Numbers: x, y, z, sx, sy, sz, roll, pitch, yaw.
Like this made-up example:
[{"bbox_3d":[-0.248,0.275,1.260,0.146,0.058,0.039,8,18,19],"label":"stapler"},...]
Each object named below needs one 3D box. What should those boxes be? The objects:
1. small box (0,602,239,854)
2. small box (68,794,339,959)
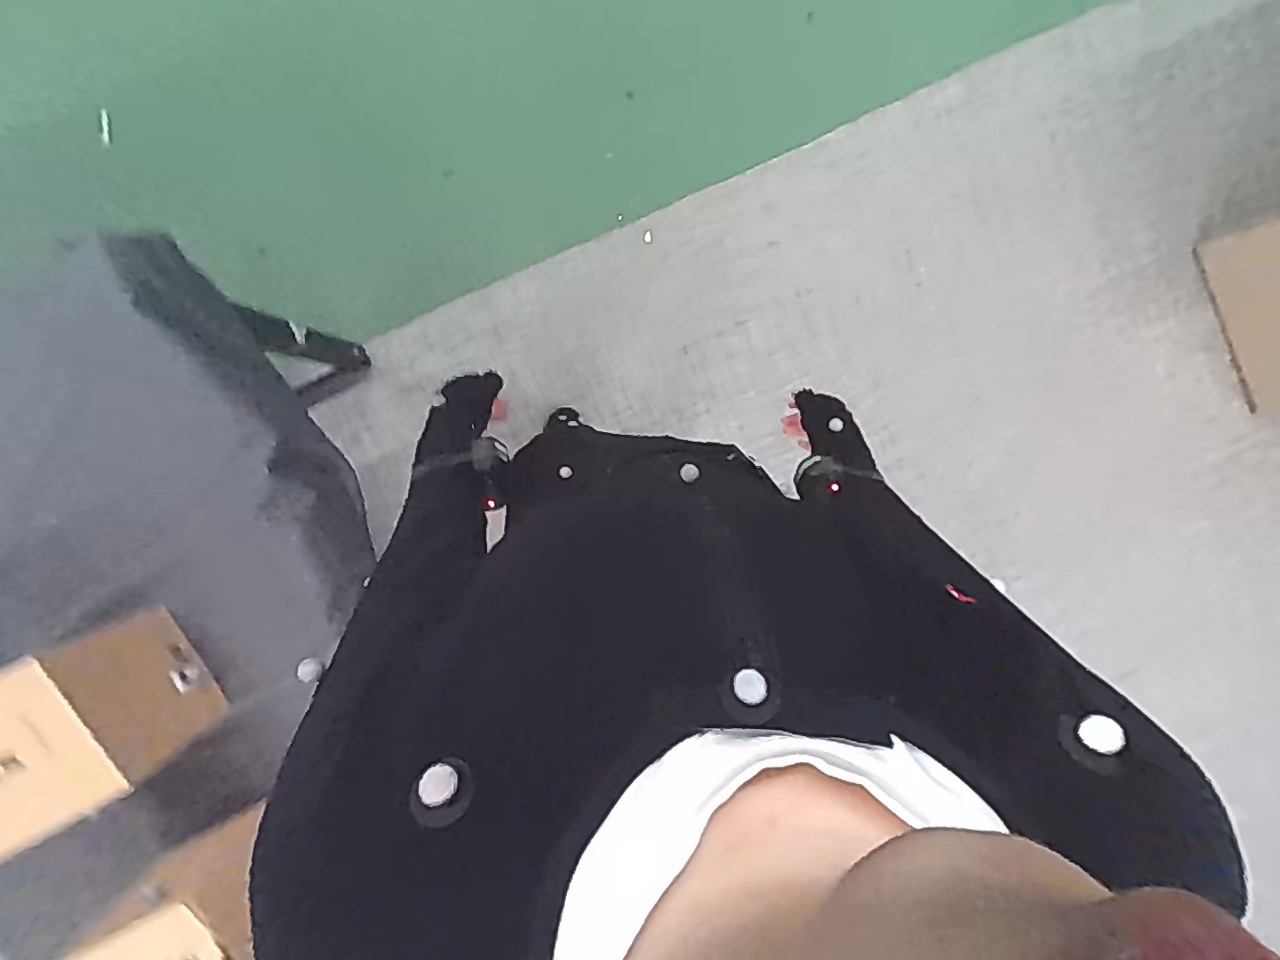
[{"bbox_3d":[-0.639,0.274,0.637,0.179,0.176,0.168,-30,98,-1],"label":"small box"},{"bbox_3d":[-0.511,0.538,0.670,0.179,0.176,0.168,-29,97,1],"label":"small box"}]
